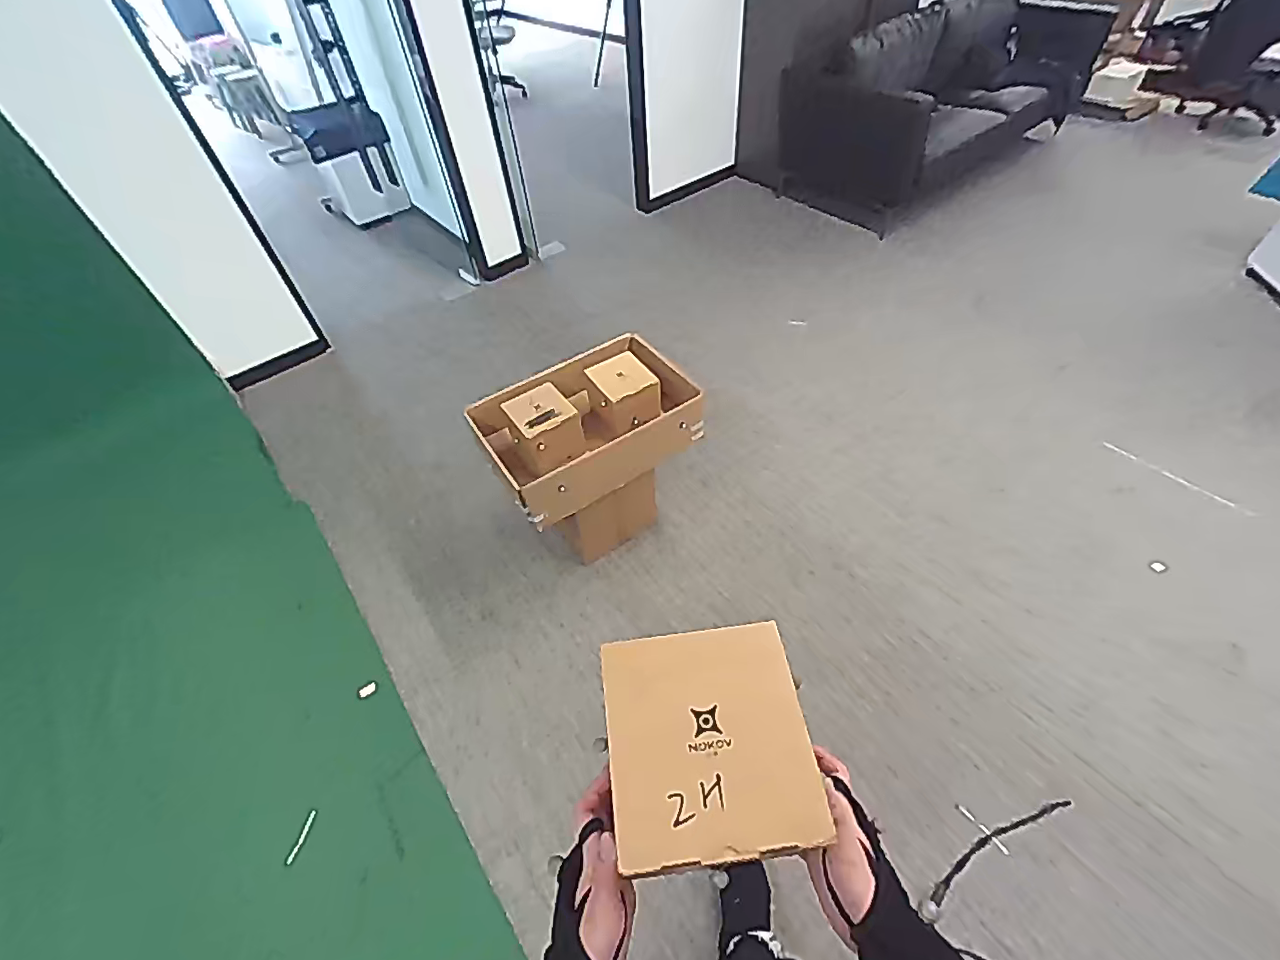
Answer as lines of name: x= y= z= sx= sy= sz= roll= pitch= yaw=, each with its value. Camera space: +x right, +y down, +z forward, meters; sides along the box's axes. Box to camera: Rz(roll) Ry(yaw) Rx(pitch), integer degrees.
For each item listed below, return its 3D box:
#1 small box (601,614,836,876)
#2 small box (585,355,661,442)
small box: x=0.056 y=0.248 z=0.502 sx=0.168 sy=0.176 sz=0.179 roll=-7 pitch=52 yaw=-2
small box: x=-0.050 y=-0.250 z=1.664 sx=0.168 sy=0.176 sz=0.179 roll=-28 pitch=54 yaw=-18
